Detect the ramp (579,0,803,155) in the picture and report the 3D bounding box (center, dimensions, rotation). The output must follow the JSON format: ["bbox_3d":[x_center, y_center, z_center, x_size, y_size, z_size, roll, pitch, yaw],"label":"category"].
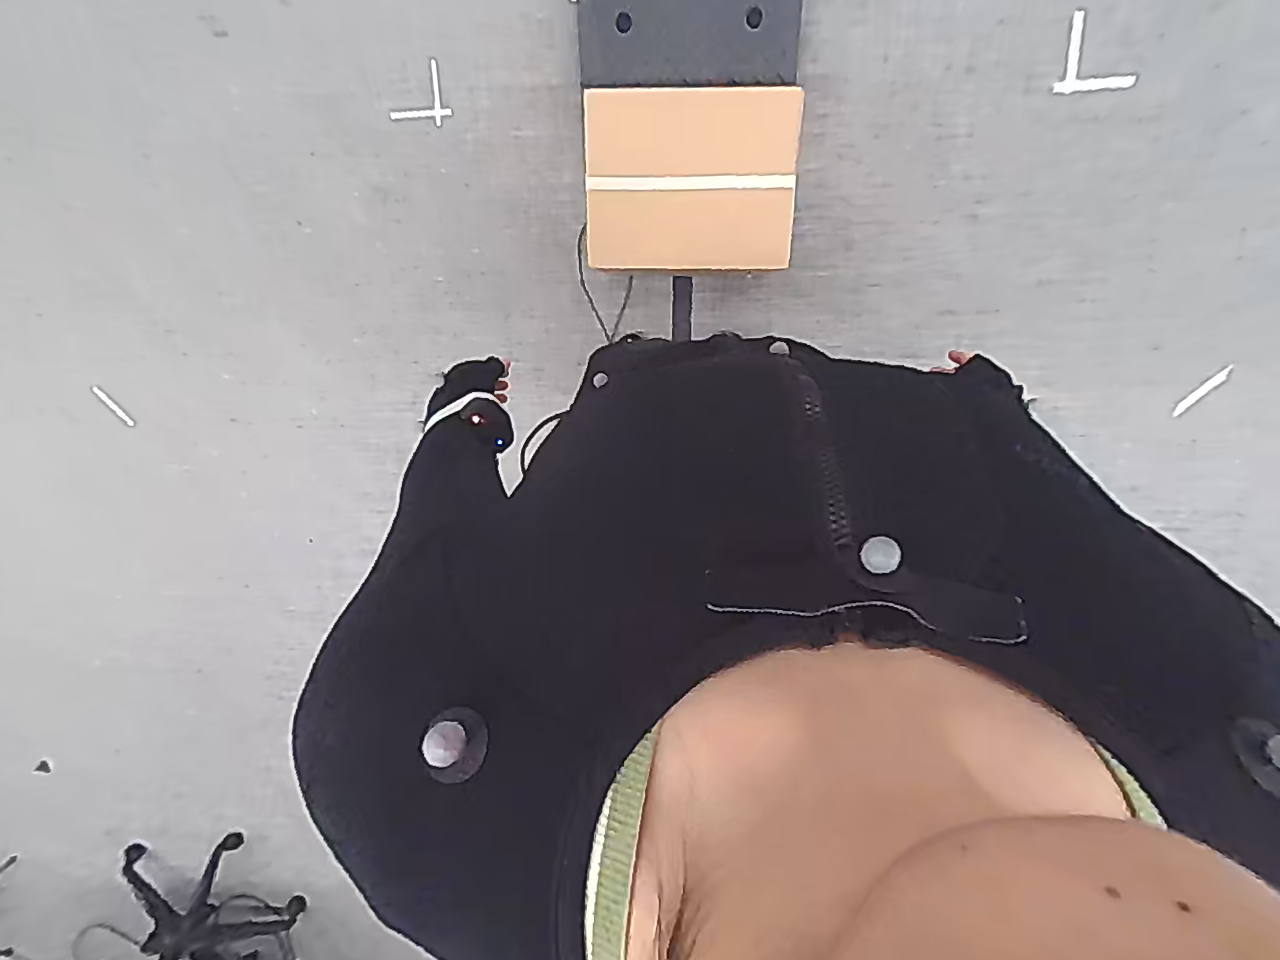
[{"bbox_3d":[0.108,-1.212,1.104,0.509,0.206,0.991,-1,105,3],"label":"ramp"}]

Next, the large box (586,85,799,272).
[{"bbox_3d":[0.107,-0.628,1.189,0.408,0.320,0.320,1,108,3],"label":"large box"}]
